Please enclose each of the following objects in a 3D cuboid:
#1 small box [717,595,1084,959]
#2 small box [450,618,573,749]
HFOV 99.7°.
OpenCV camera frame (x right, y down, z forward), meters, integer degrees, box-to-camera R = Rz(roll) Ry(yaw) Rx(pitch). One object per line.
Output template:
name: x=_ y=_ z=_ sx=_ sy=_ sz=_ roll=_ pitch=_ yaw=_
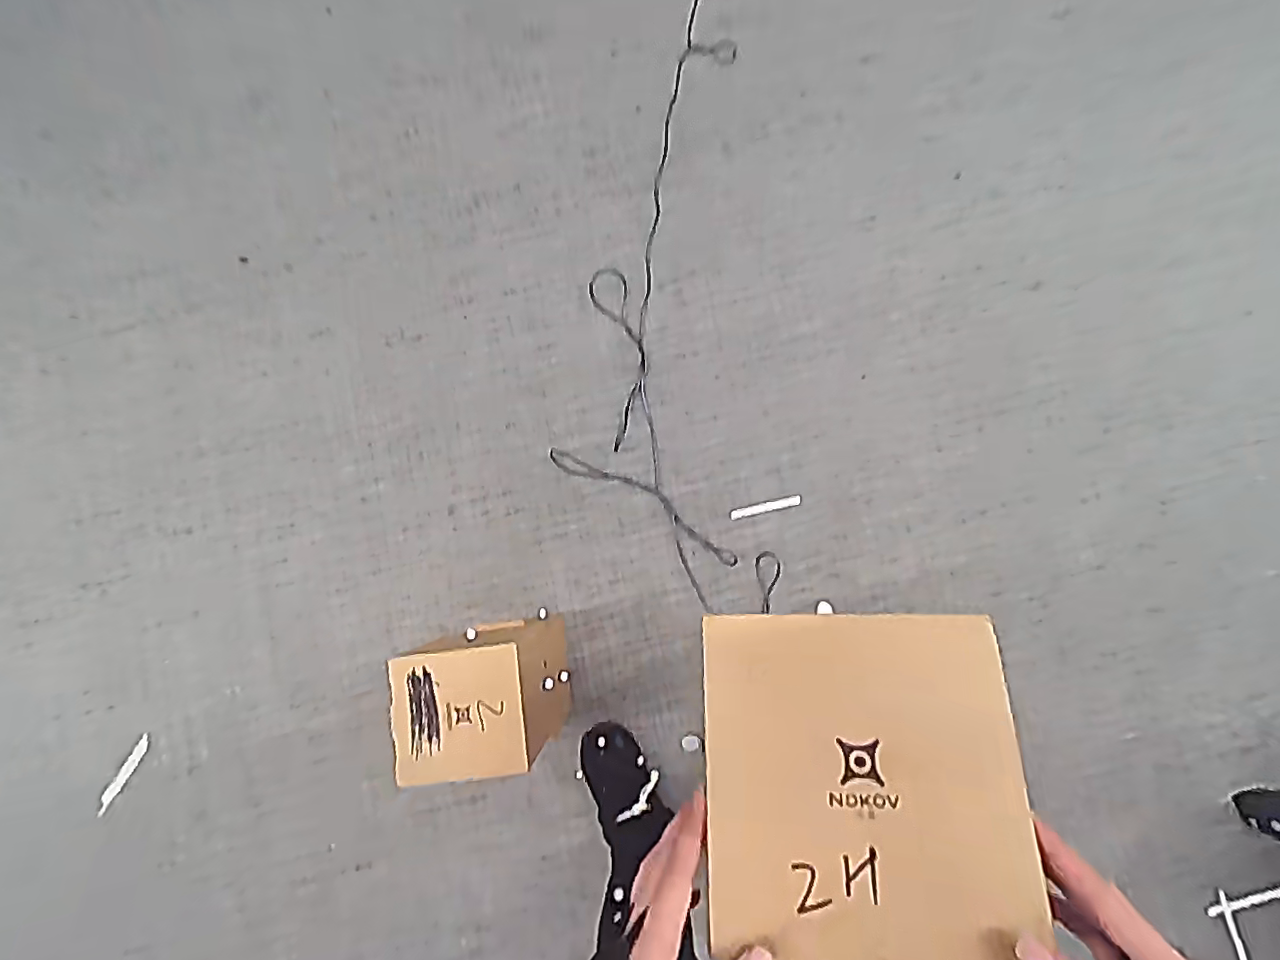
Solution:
small box: x=0.135 y=0.176 z=0.358 sx=0.168 sy=0.176 sz=0.179 roll=-1 pitch=71 yaw=8
small box: x=-0.215 y=0.341 z=0.941 sx=0.168 sy=0.176 sz=0.179 roll=-7 pitch=84 yaw=2
